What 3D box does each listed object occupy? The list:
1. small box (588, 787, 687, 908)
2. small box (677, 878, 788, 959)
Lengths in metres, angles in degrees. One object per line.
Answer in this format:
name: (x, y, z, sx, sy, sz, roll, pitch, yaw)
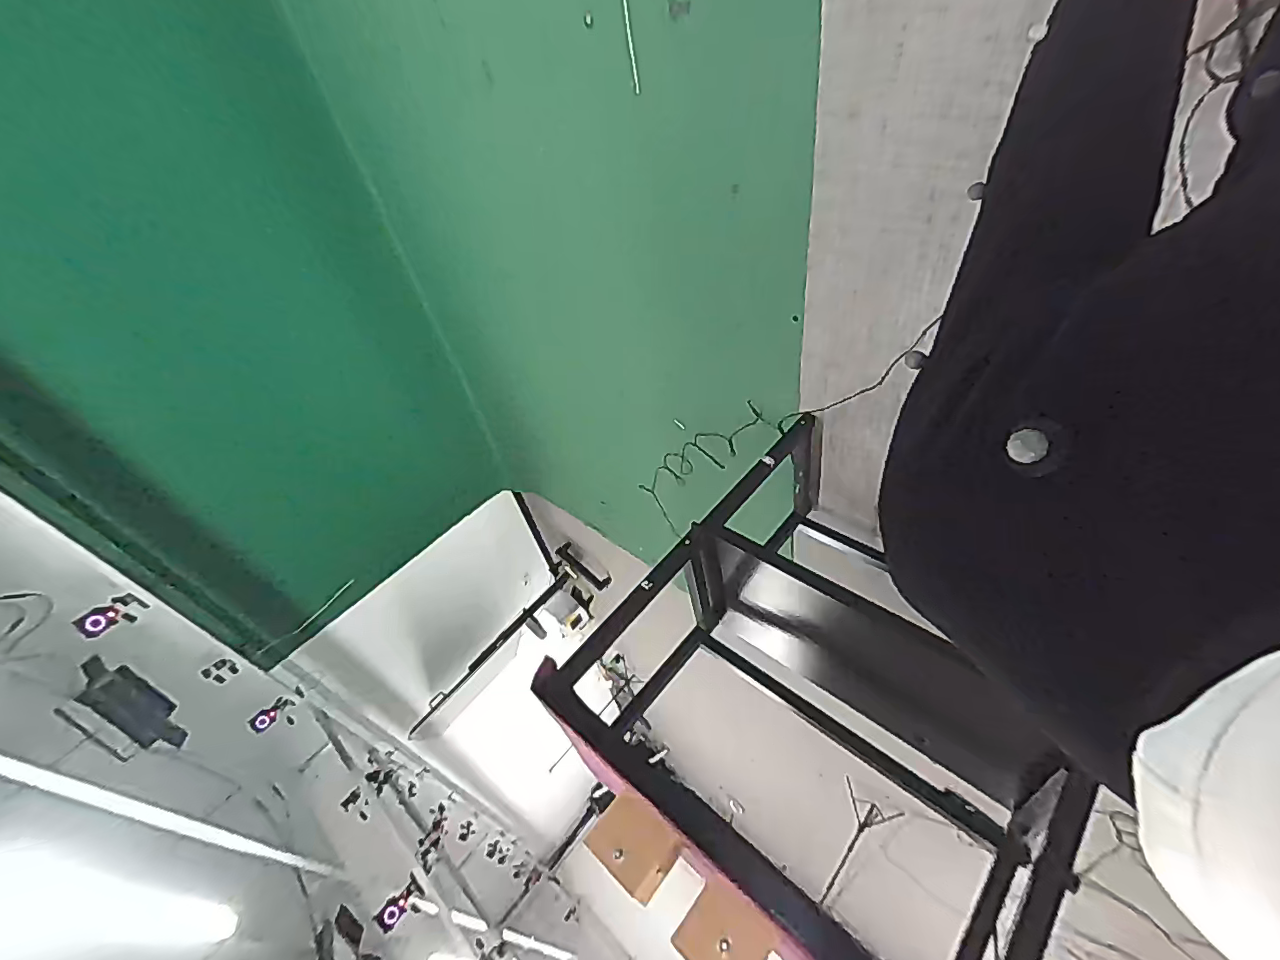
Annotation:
small box: (0.003, 0.918, 1.357, 0.179, 0.176, 0.168, 27, 148, 35)
small box: (0.206, 1.027, 1.205, 0.179, 0.176, 0.168, 29, 149, 31)
